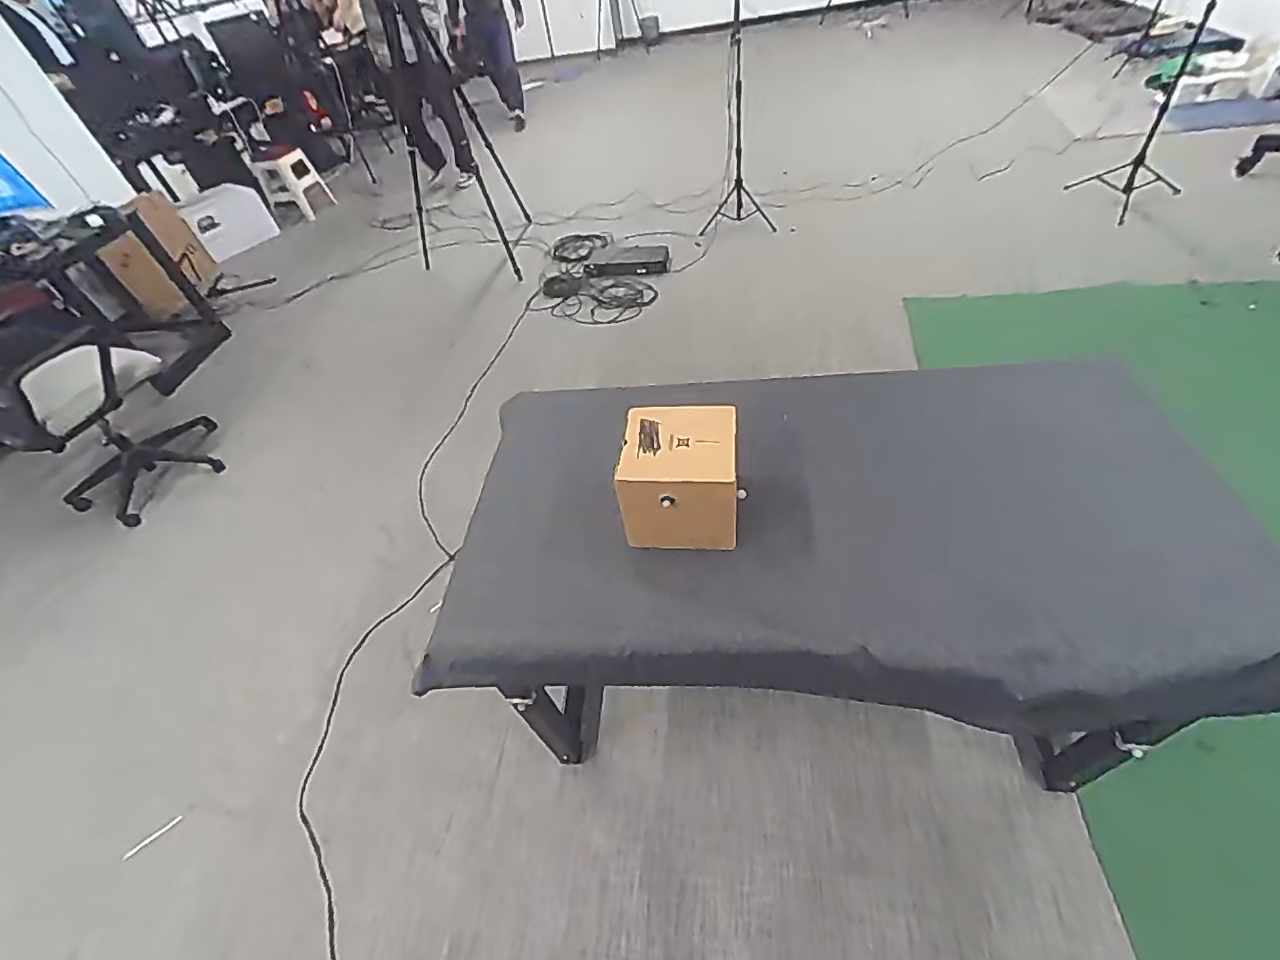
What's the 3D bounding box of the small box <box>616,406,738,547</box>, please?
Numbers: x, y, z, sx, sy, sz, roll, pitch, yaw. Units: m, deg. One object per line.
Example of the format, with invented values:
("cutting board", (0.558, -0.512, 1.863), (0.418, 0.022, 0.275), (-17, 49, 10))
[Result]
("small box", (0.069, -0.003, 0.886), (0.179, 0.176, 0.168), (1, 48, 10))
